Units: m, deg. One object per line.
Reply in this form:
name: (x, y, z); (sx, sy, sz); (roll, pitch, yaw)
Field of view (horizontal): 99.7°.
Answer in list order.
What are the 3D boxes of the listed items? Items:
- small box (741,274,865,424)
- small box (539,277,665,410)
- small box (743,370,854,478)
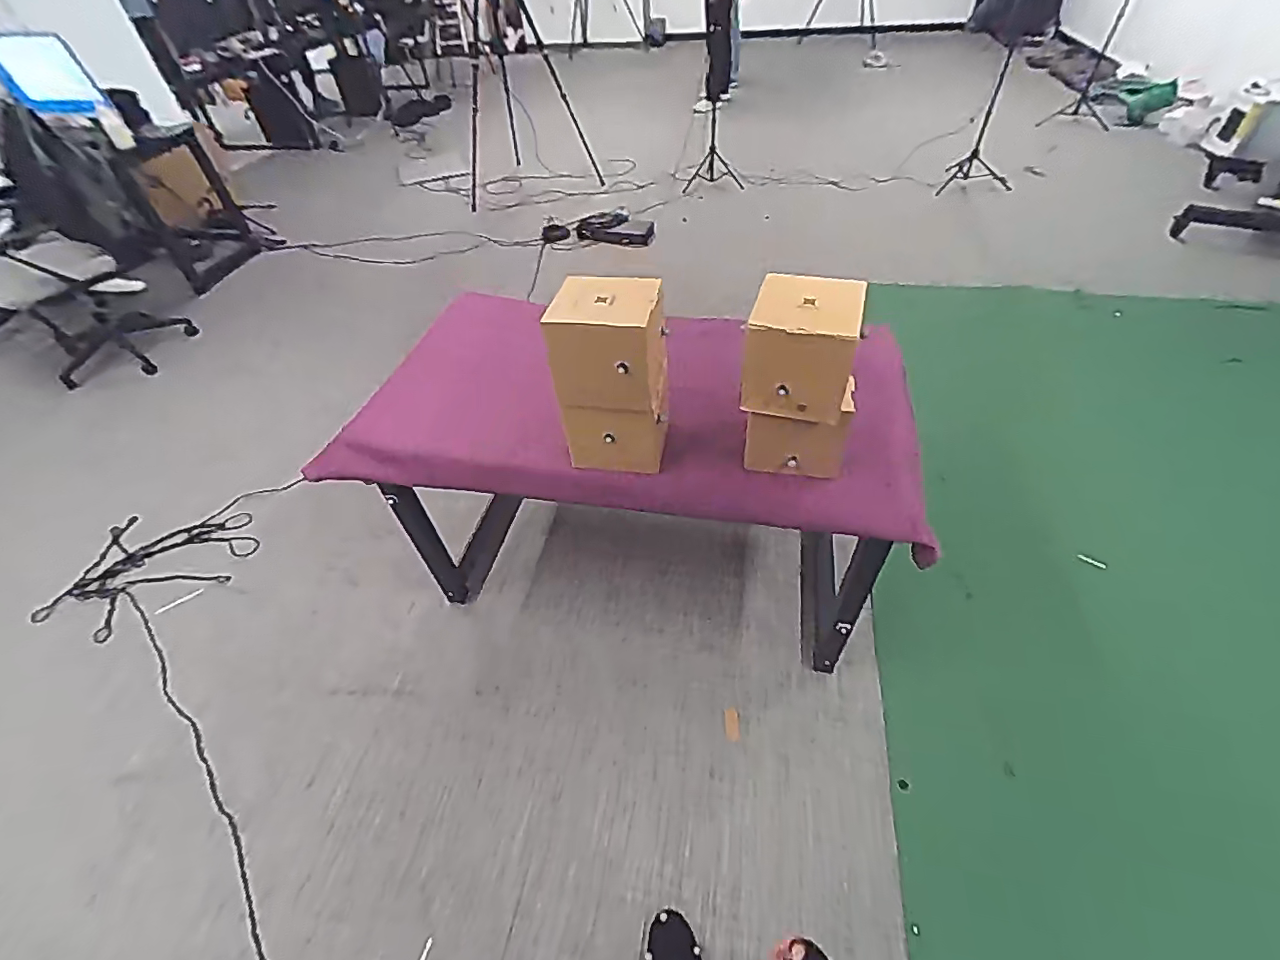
small box: (0.270, -0.222, 0.912); (0.168, 0.176, 0.179); (11, 49, 16)
small box: (-0.055, -0.239, 0.954); (0.179, 0.176, 0.168); (6, 46, 12)
small box: (0.298, -0.121, 1.039); (0.179, 0.176, 0.168); (6, 46, 10)
